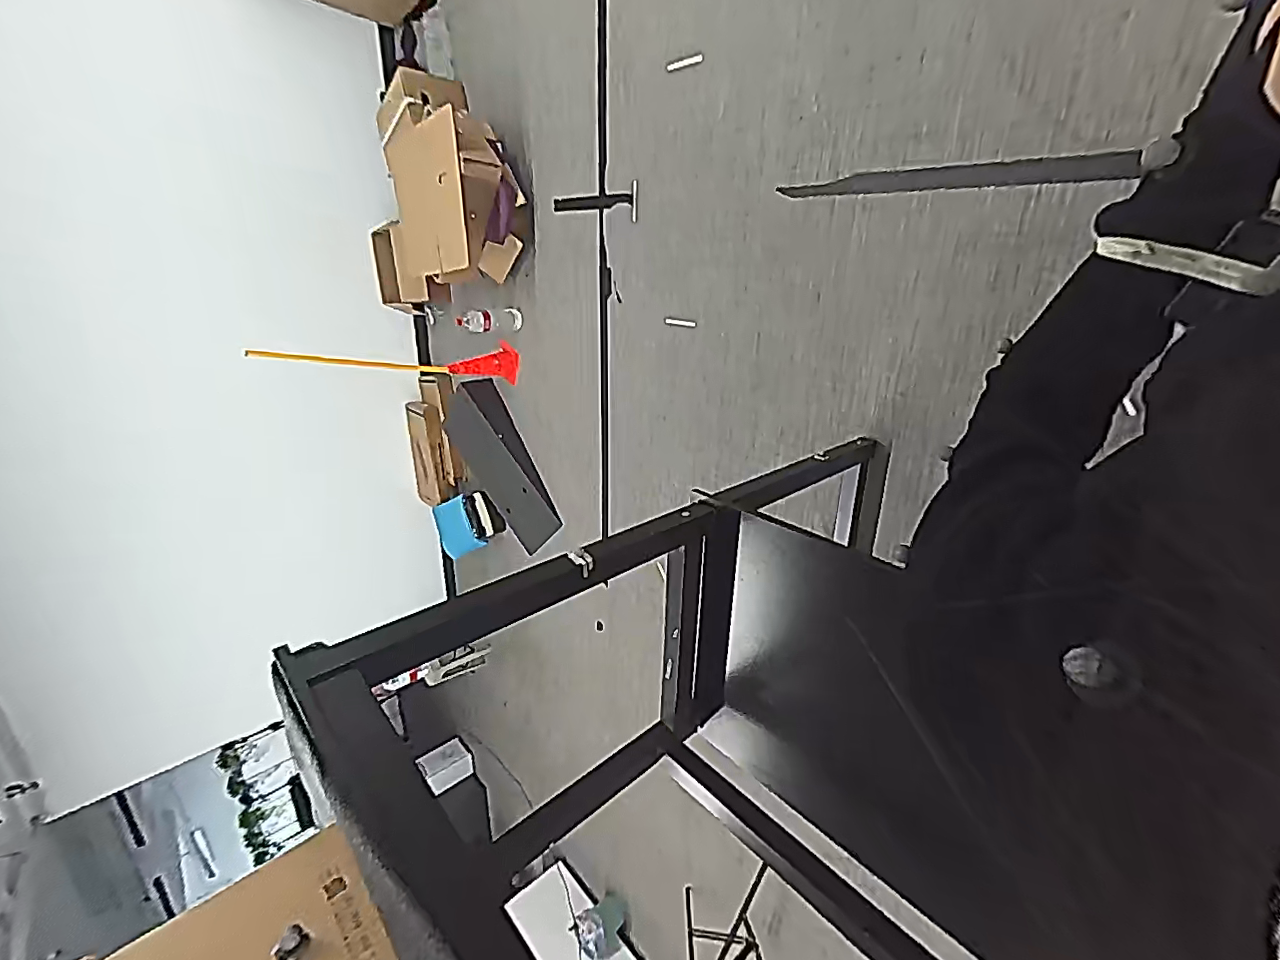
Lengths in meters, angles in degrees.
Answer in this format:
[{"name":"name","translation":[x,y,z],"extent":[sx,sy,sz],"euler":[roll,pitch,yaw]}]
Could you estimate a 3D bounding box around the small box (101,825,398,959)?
[{"name":"small box","translation":[-0.283,0.432,0.425],"extent":[0.168,0.176,0.179],"euler":[24,121,41]}]
